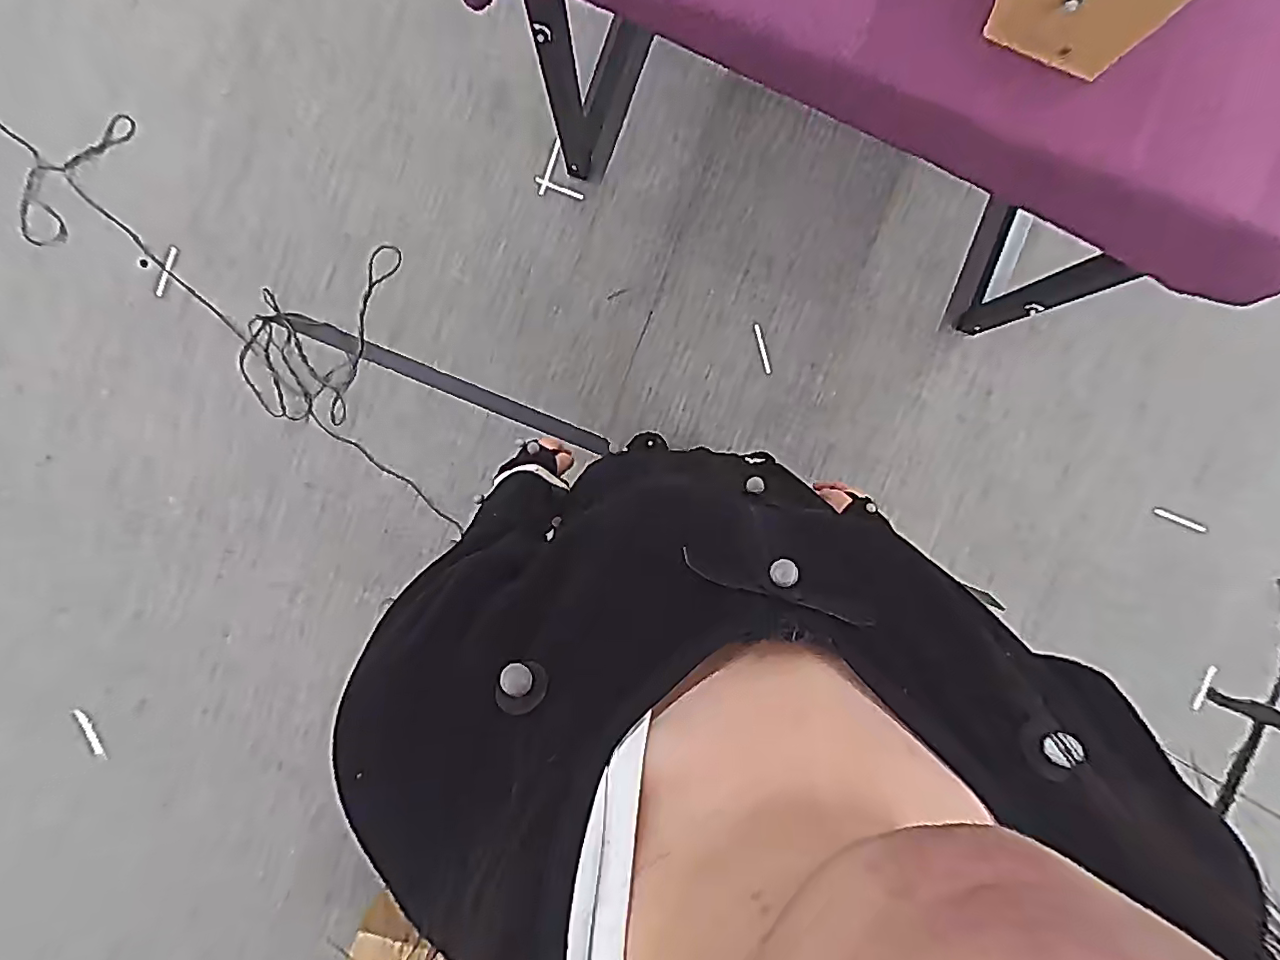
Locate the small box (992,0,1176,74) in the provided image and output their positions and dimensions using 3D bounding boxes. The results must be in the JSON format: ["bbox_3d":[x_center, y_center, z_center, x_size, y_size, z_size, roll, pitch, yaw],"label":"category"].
[{"bbox_3d":[0.575,-0.653,0.657,0.168,0.176,0.179,21,92,-1],"label":"small box"}]
